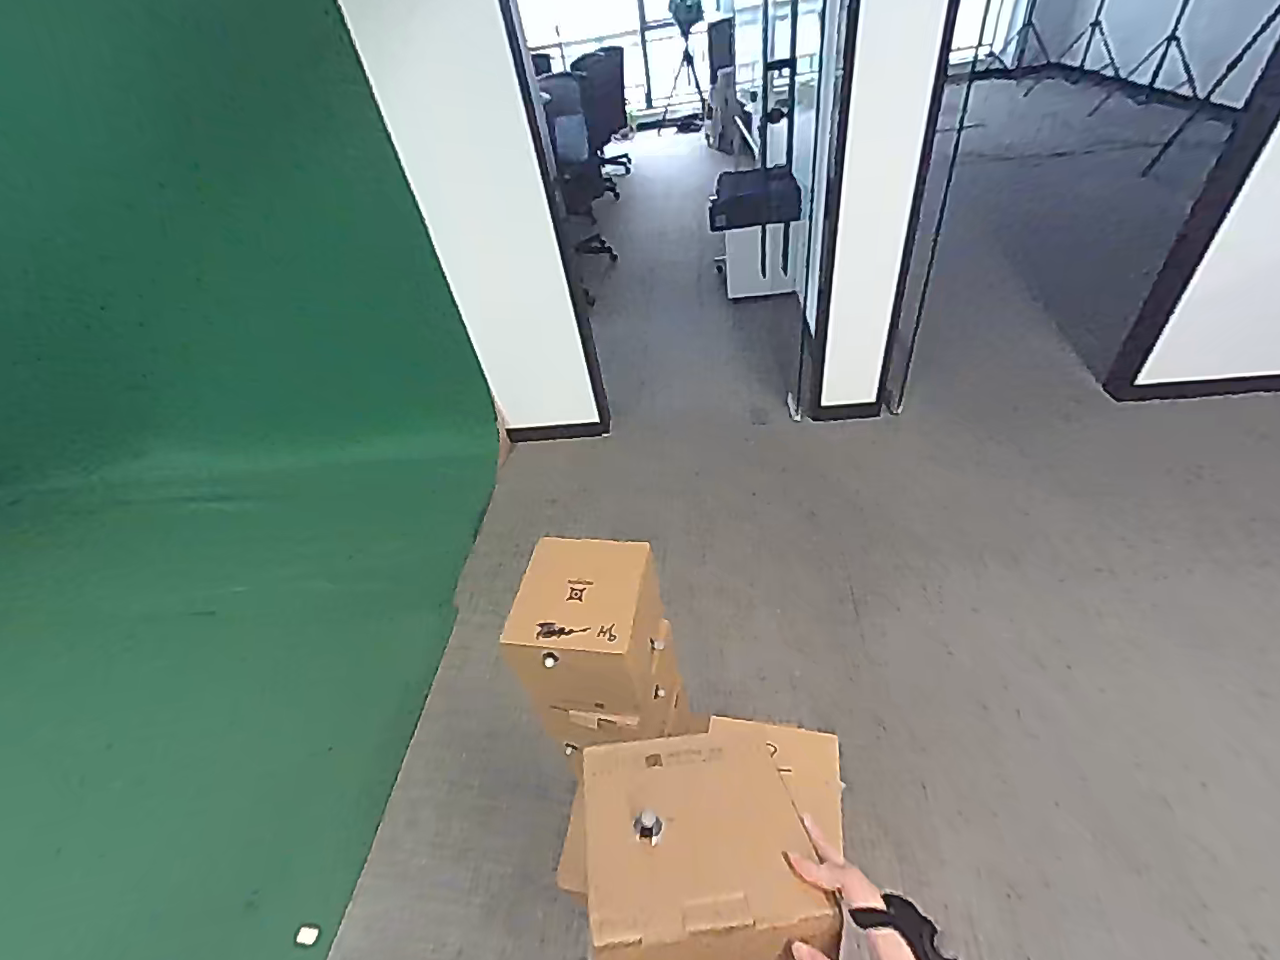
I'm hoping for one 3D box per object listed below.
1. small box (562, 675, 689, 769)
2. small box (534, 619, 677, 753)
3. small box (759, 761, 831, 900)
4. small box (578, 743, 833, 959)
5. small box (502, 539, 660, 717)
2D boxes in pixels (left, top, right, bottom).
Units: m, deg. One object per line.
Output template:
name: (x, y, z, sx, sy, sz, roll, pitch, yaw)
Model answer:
small box: (-0.016, 0.455, 0.978, 0.179, 0.176, 0.168, 5, 44, 16)
small box: (-0.043, 0.332, 0.870, 0.168, 0.176, 0.179, 6, 43, 18)
small box: (0.192, 0.552, 0.826, 0.168, 0.176, 0.179, -1, 43, 11)
small box: (0.036, 0.341, 0.442, 0.168, 0.179, 0.176, -3, 18, -7)
small box: (-0.068, 0.206, 0.767, 0.168, 0.176, 0.179, 0, 42, 14)
